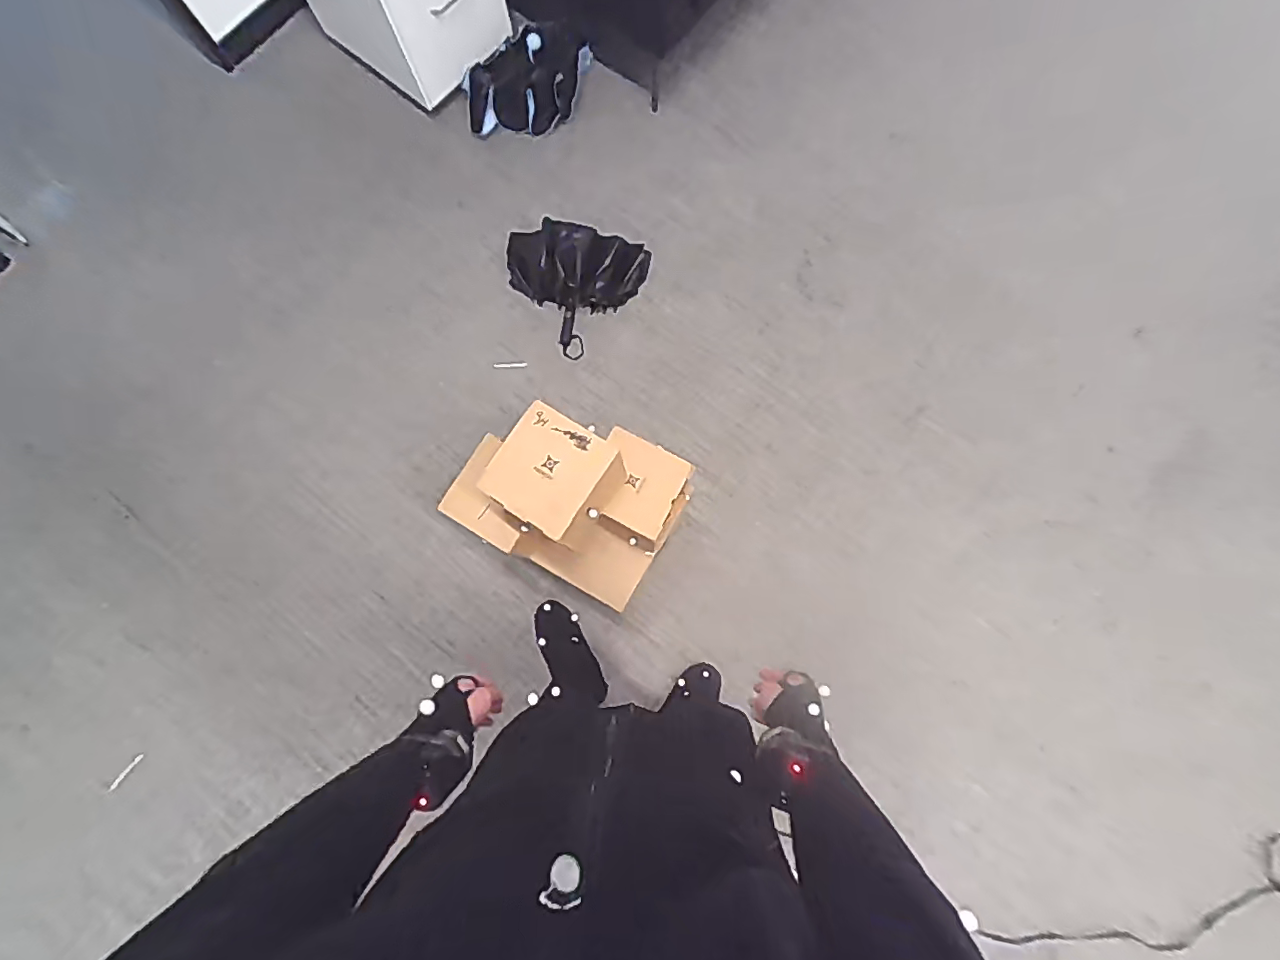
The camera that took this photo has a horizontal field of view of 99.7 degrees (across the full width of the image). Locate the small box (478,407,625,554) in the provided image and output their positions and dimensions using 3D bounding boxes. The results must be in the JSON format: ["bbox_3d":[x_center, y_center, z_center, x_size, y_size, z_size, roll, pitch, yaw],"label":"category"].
[{"bbox_3d":[-0.138,0.011,0.928,0.168,0.176,0.179,32,81,10],"label":"small box"}]

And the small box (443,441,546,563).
[{"bbox_3d":[-0.256,0.052,1.093,0.168,0.176,0.179,31,82,9],"label":"small box"}]

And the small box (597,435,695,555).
[{"bbox_3d":[-0.005,0.039,1.088,0.179,0.176,0.168,26,76,9],"label":"small box"}]
